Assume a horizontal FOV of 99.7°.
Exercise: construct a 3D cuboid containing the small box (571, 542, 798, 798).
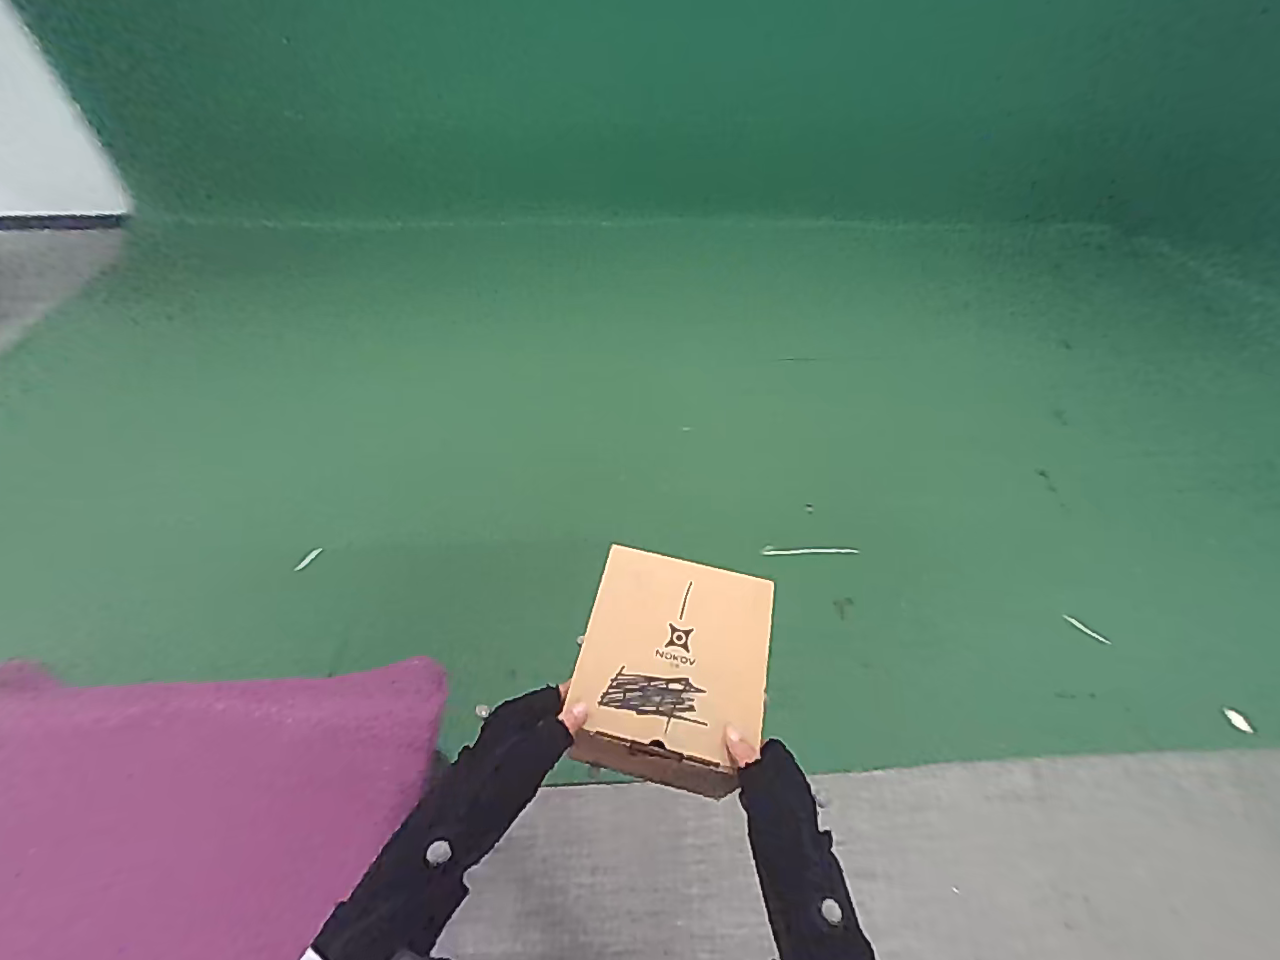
[{"bbox_3d":[0.040,0.196,0.539,0.168,0.176,0.179,18,56,5],"label":"small box"}]
